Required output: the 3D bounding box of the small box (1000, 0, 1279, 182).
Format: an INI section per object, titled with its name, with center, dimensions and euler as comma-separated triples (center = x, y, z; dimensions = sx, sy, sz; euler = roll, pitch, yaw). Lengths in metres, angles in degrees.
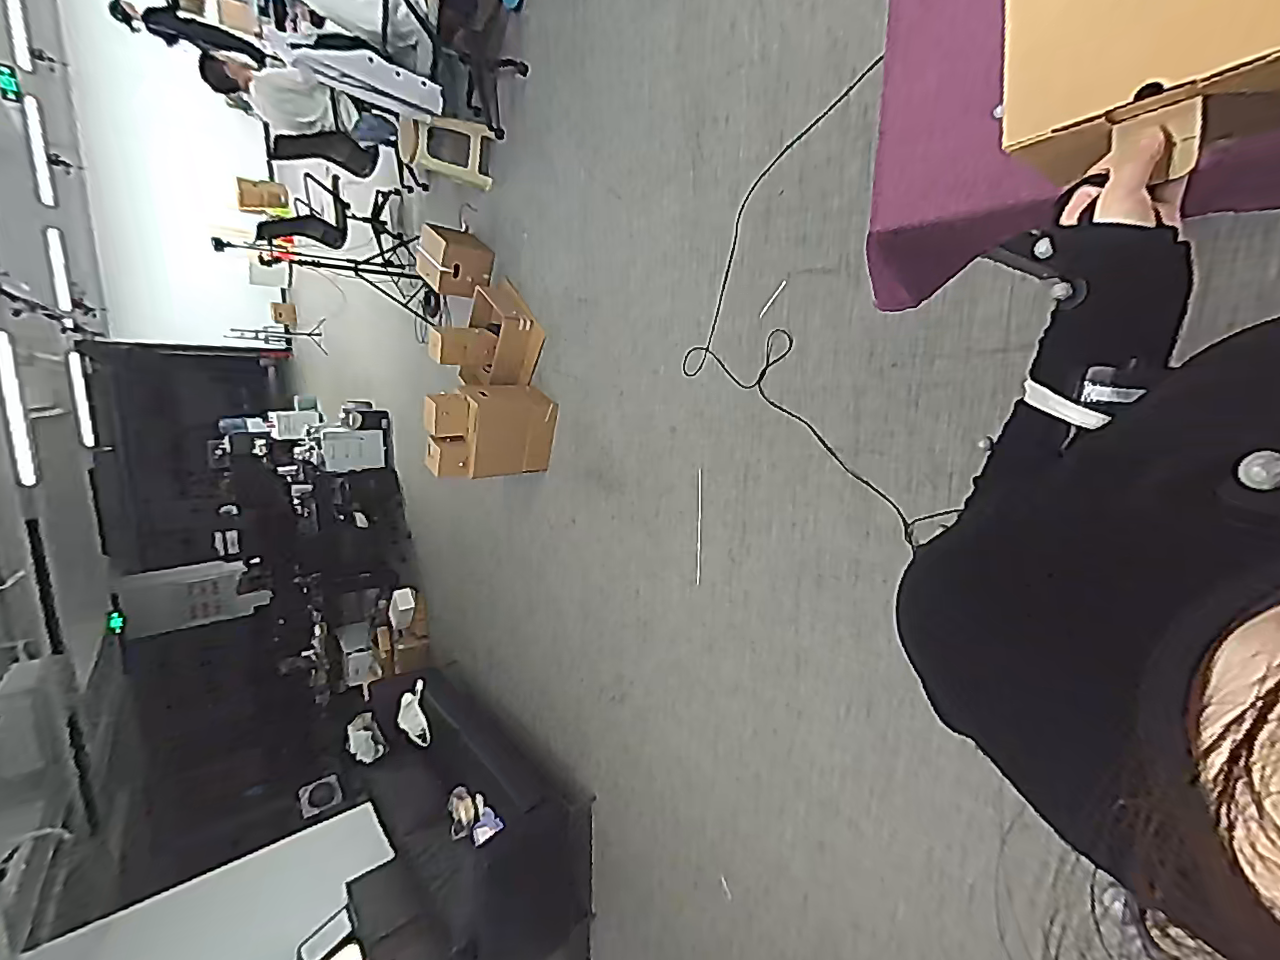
[small box]
center = 0.392, -0.353, 0.404
dimensions = 0.168, 0.176, 0.179
euler = 6, 105, 50
